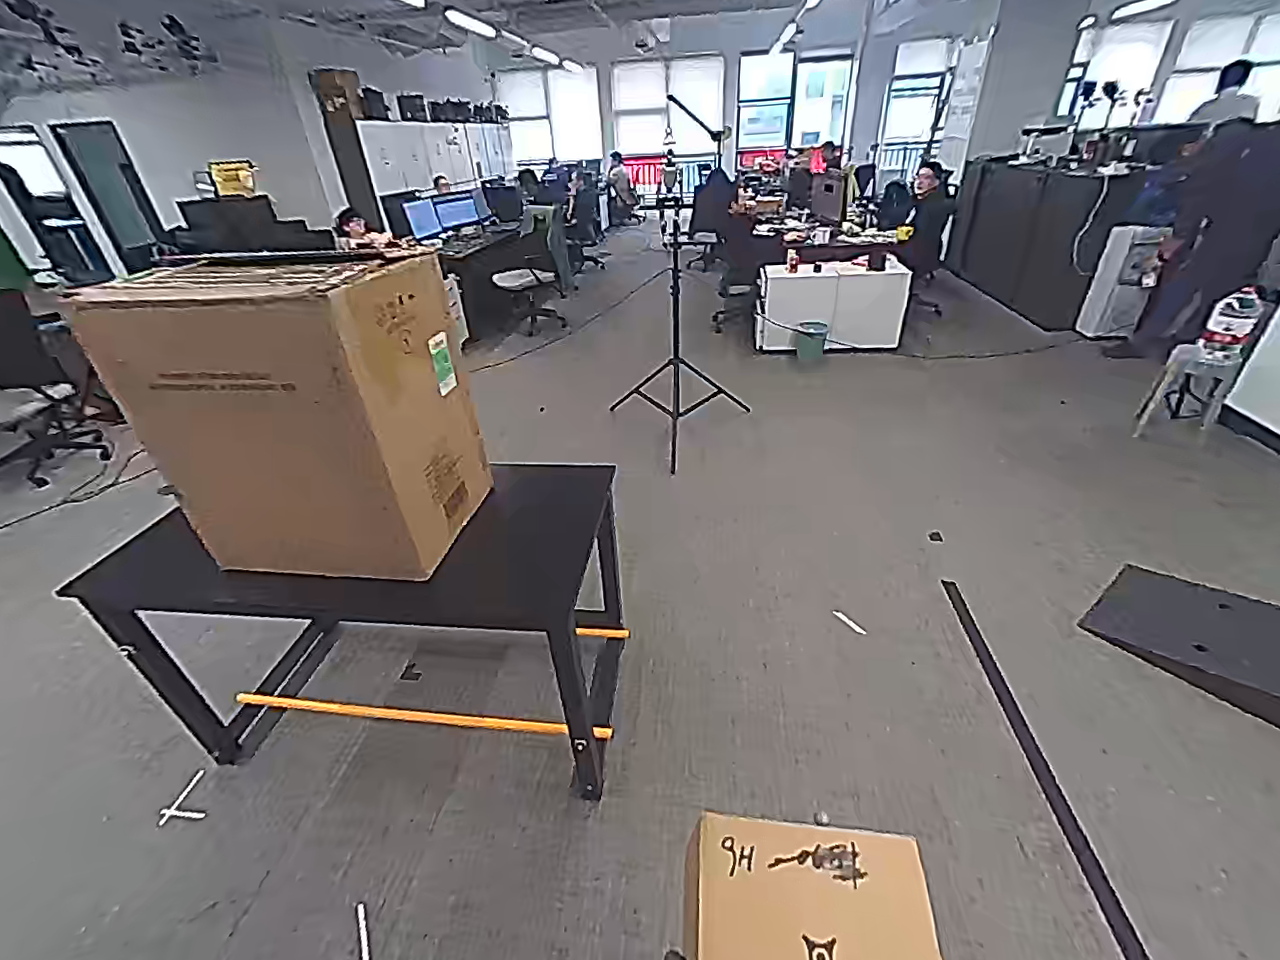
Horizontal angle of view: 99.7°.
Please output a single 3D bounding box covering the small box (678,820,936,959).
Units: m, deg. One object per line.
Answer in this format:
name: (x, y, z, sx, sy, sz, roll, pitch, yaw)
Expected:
small box: (0.116, 0.385, 0.415, 0.168, 0.176, 0.179, 5, 49, 3)
